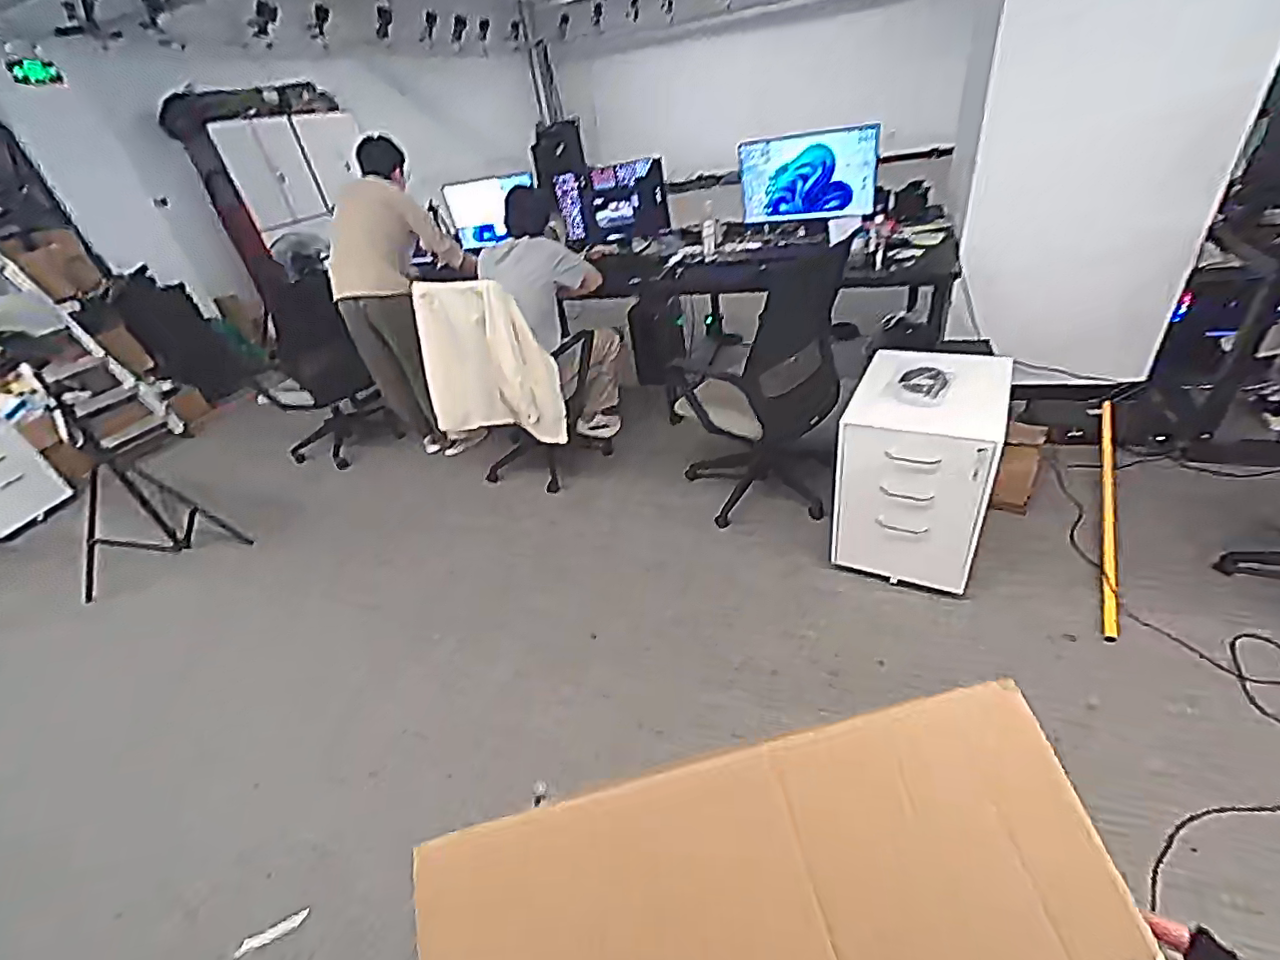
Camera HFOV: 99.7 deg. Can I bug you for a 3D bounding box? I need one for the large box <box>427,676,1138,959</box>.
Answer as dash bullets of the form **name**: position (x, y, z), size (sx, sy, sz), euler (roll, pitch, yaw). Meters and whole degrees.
- **large box**: position (0.102, 0.383, 0.430), size (0.408, 0.320, 0.320), euler (-16, 65, 0)
